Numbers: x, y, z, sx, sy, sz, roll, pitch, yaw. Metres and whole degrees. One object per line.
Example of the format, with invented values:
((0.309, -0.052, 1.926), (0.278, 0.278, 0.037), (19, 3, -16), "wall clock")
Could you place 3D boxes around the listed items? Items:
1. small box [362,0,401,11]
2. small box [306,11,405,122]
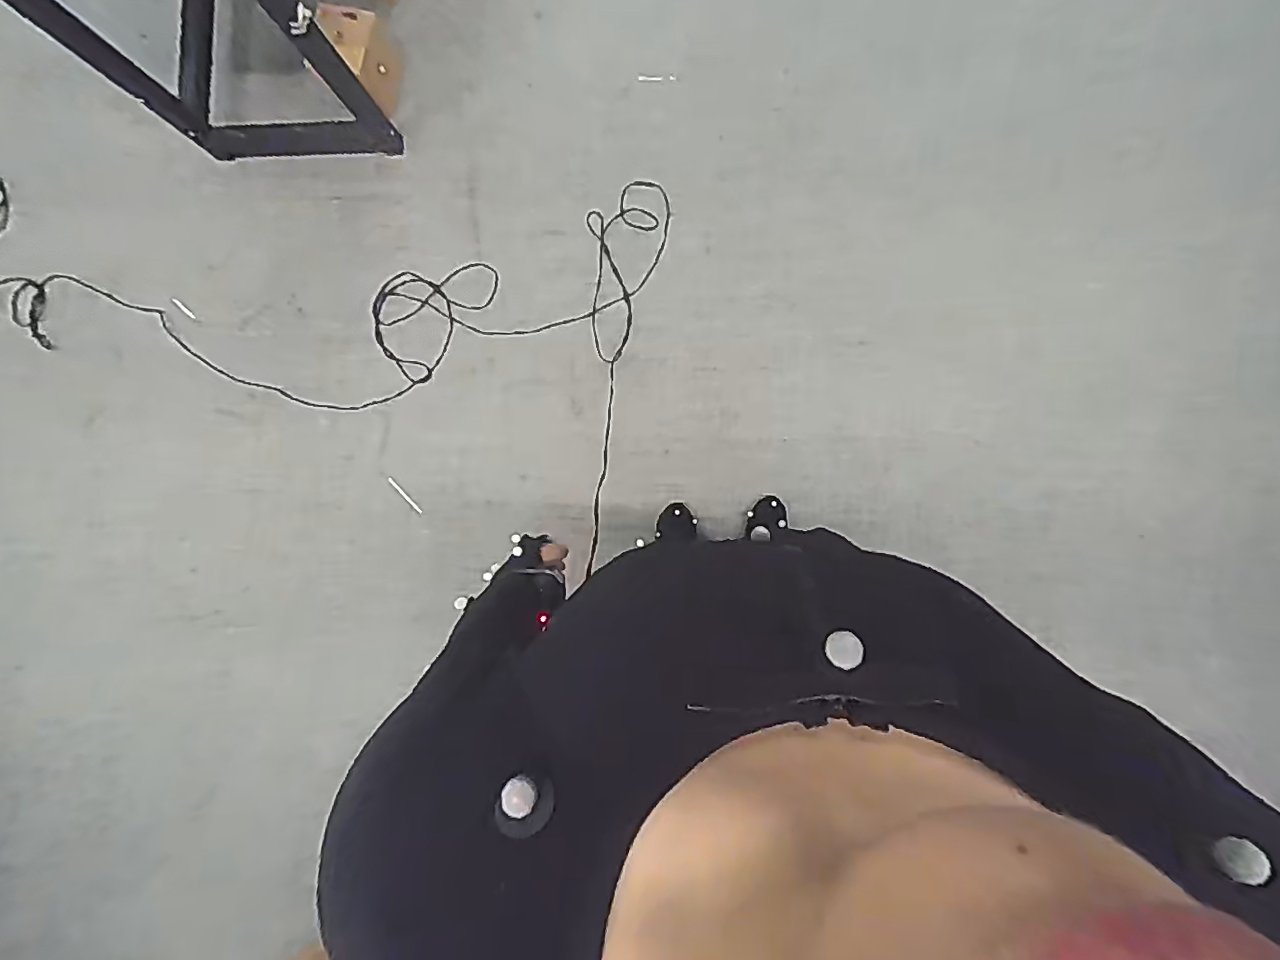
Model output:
((-0.769, -1.499, 1.529), (0.168, 0.176, 0.179), (21, 91, 5), "small box")
((-0.790, -1.152, 1.518), (0.168, 0.176, 0.179), (13, 90, 4), "small box")
